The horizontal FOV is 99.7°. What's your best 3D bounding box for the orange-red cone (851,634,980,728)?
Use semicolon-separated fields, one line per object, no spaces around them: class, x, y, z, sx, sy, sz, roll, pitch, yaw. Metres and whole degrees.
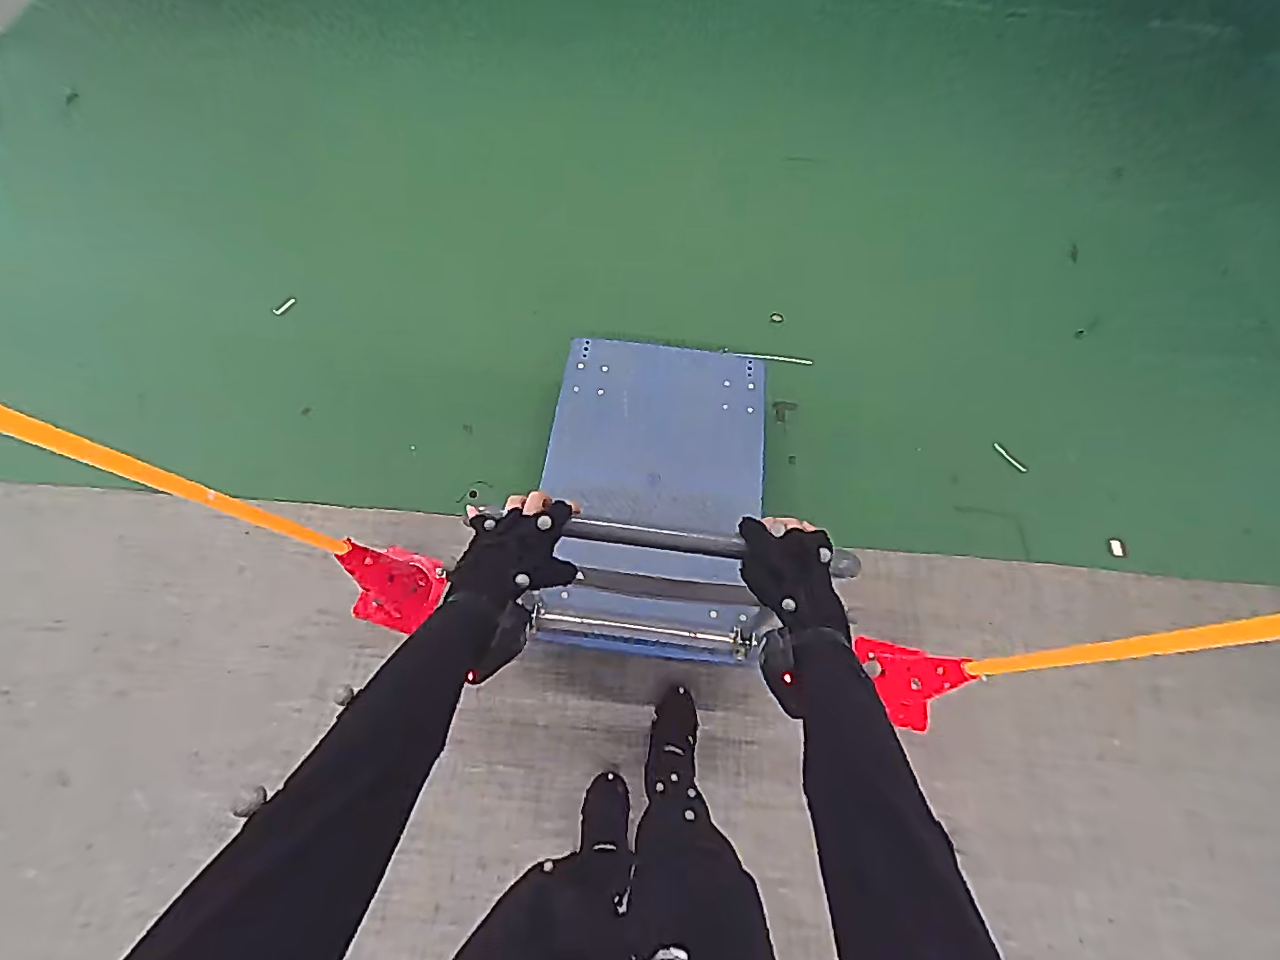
orange-red cone;0.653;0.441;1.231;0.198;0.360;0.199;15;66;5
